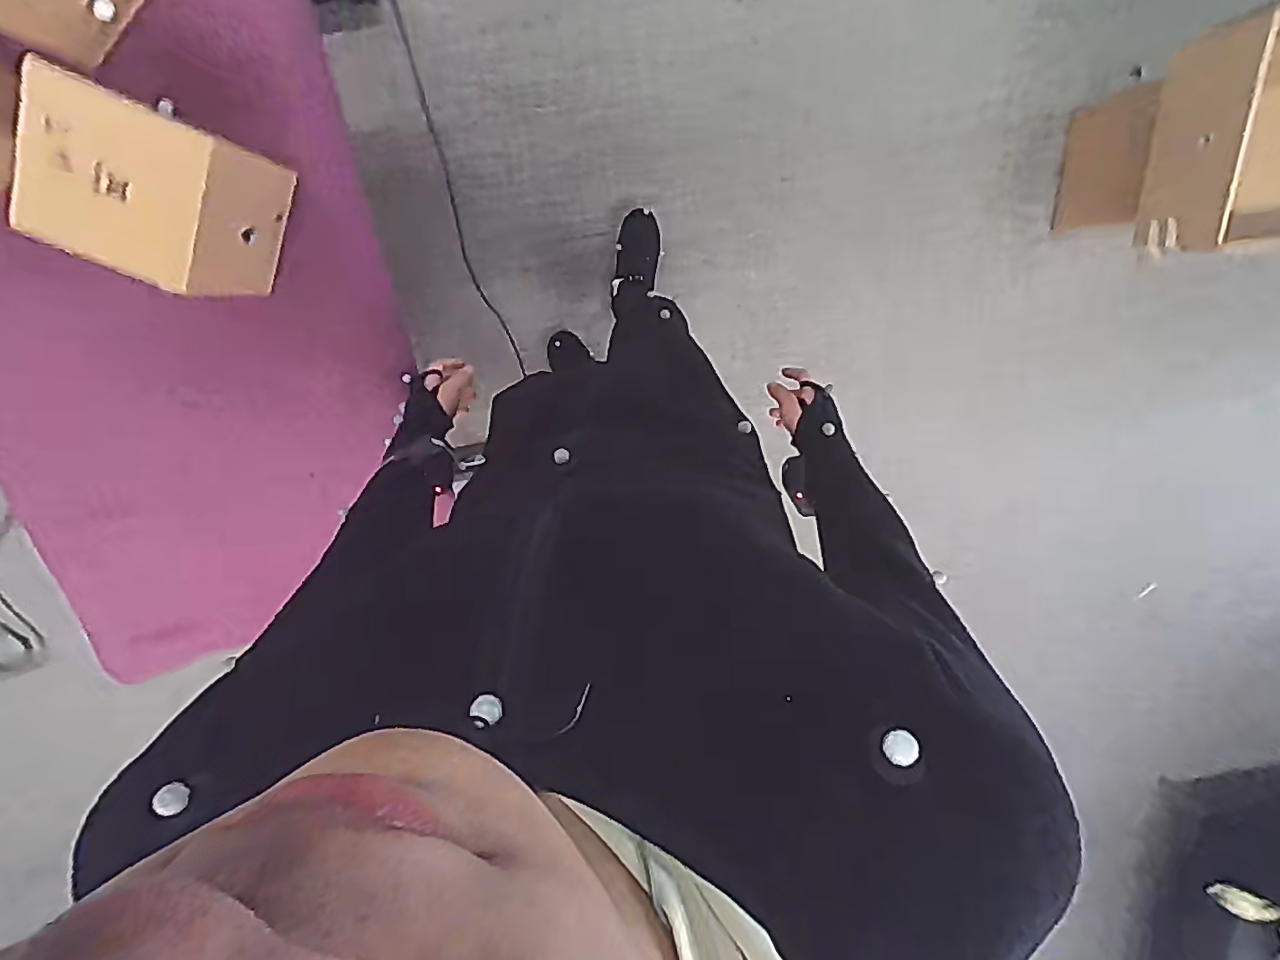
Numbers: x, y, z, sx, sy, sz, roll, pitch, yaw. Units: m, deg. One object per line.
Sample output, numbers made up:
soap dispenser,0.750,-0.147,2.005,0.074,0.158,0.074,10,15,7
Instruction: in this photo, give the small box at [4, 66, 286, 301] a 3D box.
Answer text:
small box,-0.554,-0.325,0.630,0.179,0.176,0.168,21,106,-12

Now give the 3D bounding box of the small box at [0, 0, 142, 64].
small box,-0.656,-0.573,0.535,0.168,0.176,0.179,-43,109,10
